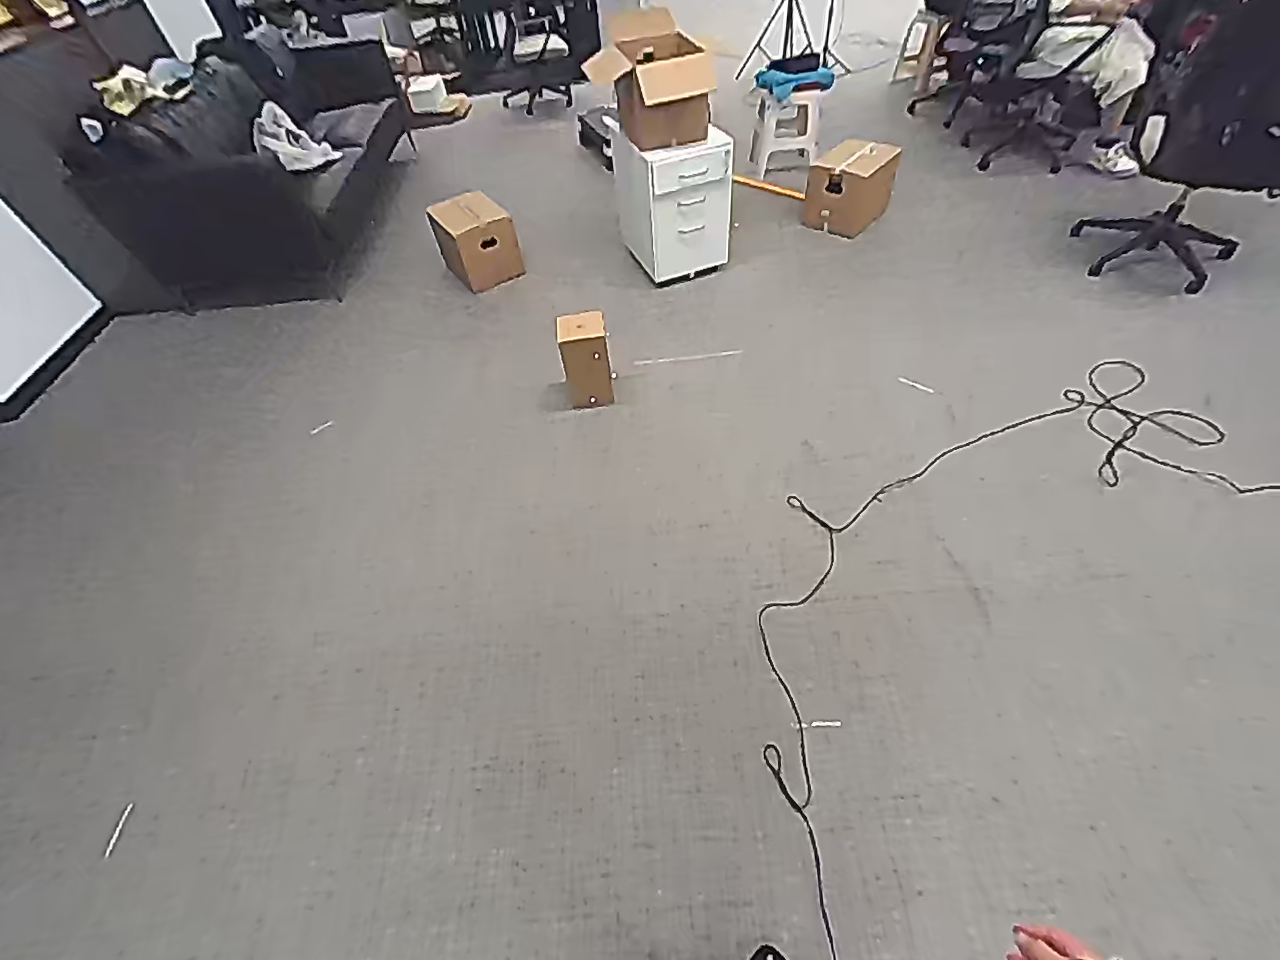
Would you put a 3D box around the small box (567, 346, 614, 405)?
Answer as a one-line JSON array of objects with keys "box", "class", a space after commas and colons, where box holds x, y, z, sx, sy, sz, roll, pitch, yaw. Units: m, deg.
[{"box": [-0.197, -0.422, 2.193, 0.179, 0.176, 0.168, -7, 50, 0], "class": "small box"}]

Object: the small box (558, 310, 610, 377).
[{"box": [-0.210, -0.518, 2.061, 0.179, 0.176, 0.168, -10, 49, 0], "class": "small box"}]
